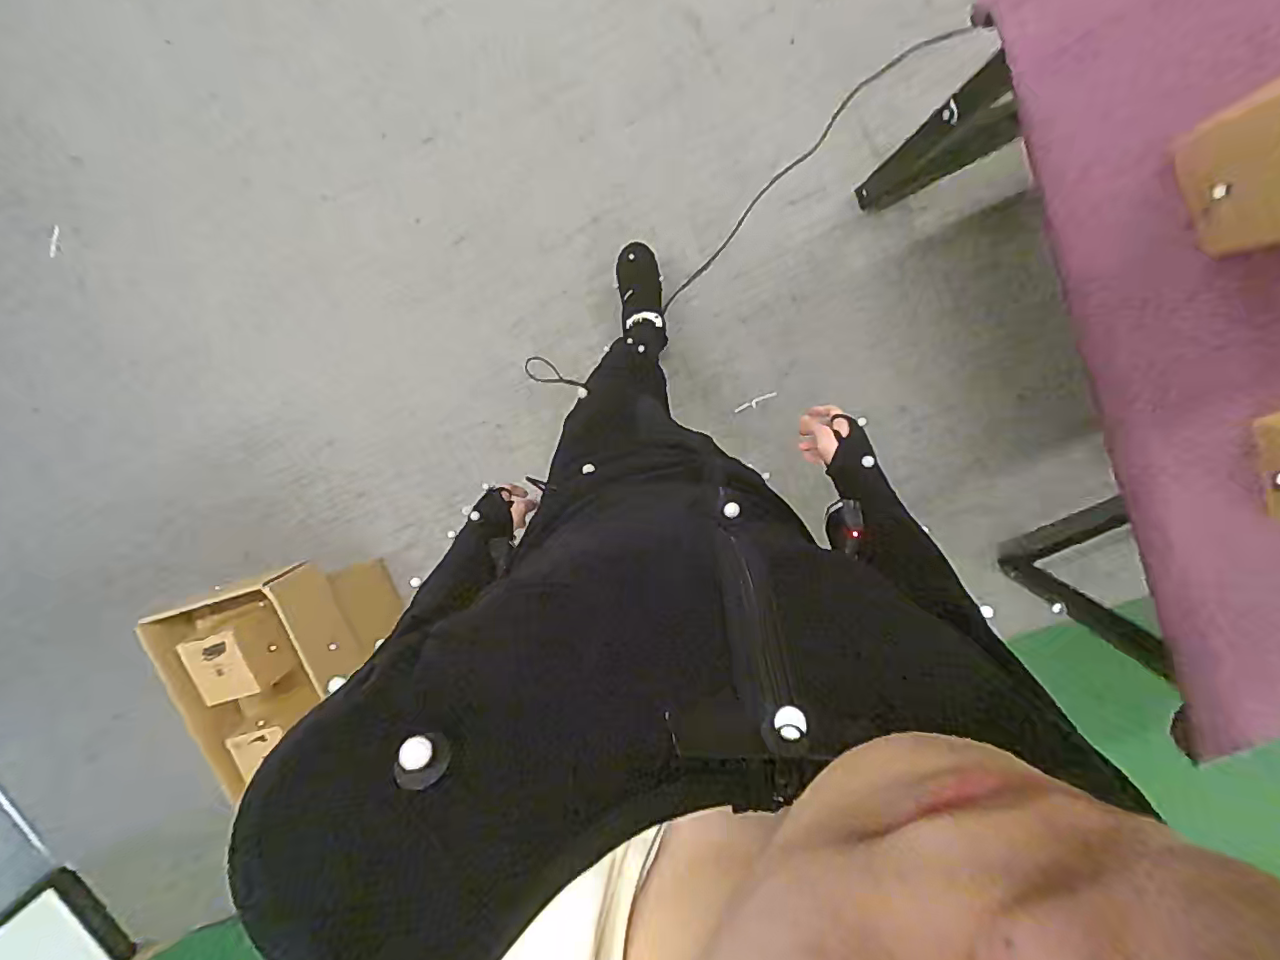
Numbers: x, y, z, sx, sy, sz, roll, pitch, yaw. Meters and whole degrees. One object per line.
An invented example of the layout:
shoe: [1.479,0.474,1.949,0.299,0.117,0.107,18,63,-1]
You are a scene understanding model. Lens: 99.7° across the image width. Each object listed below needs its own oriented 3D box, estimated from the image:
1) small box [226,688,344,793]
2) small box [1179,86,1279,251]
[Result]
small box: [-0.933,0.689,1.440,0.168,0.176,0.179,-16,101,9]
small box: [0.818,-0.401,0.638,0.179,0.176,0.168,-28,98,11]
